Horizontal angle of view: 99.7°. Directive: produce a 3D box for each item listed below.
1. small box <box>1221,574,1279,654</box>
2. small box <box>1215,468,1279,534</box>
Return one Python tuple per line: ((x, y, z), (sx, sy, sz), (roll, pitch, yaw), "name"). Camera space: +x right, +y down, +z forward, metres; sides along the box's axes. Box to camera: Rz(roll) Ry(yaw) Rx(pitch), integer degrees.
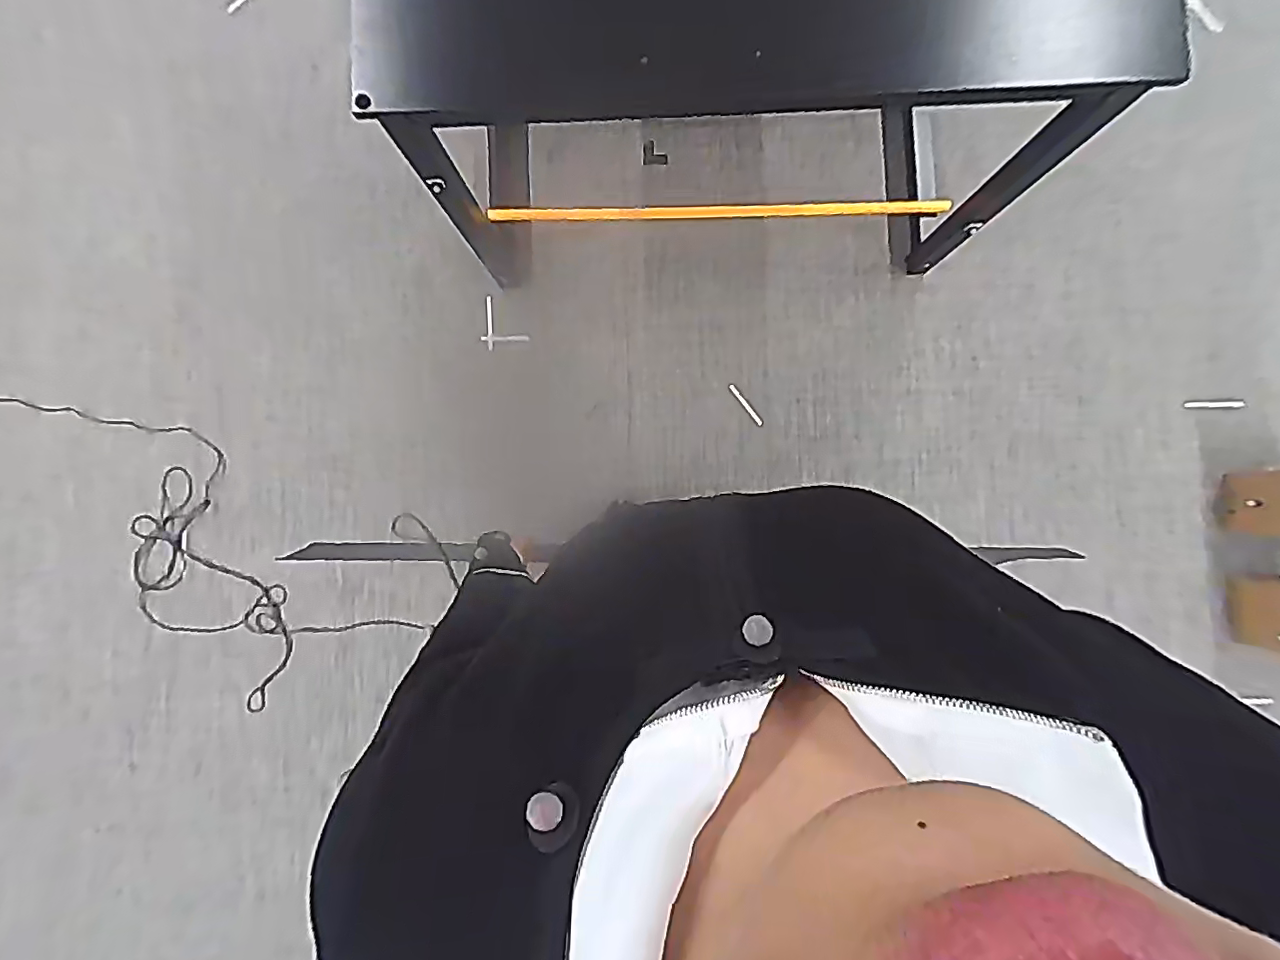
((1.664, 0.344, 1.393), (0.168, 0.176, 0.179), (-2, 89, 1), "small box")
((1.655, 0.057, 1.398), (0.179, 0.176, 0.168), (1, 89, 2), "small box")
